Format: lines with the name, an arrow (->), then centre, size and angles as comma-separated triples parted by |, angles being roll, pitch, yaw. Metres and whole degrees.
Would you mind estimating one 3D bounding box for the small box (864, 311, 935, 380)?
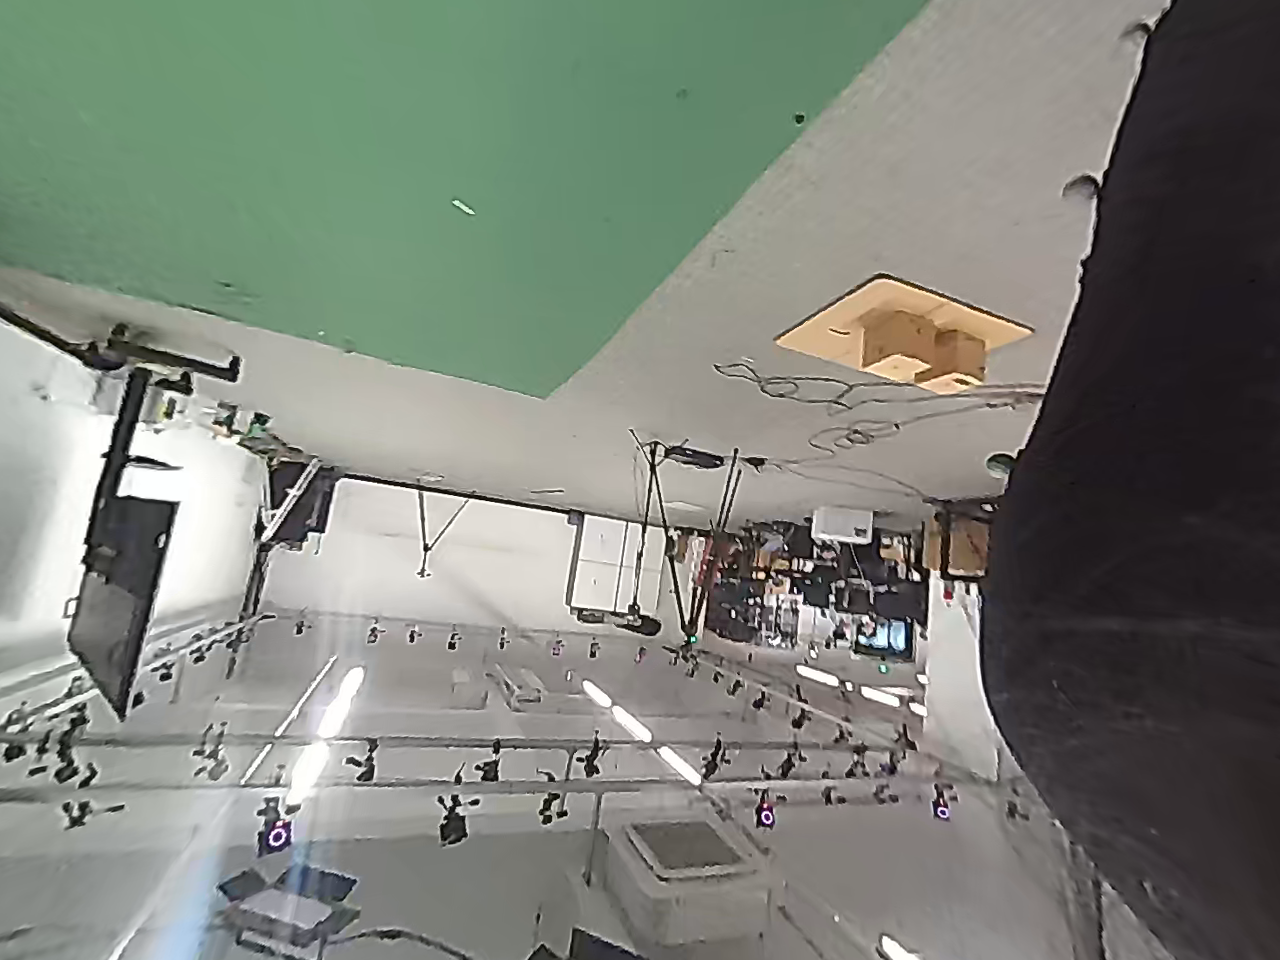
small box -> 0.951, -0.487, 1.971 | 0.168, 0.176, 0.179 | 11, 169, -17
